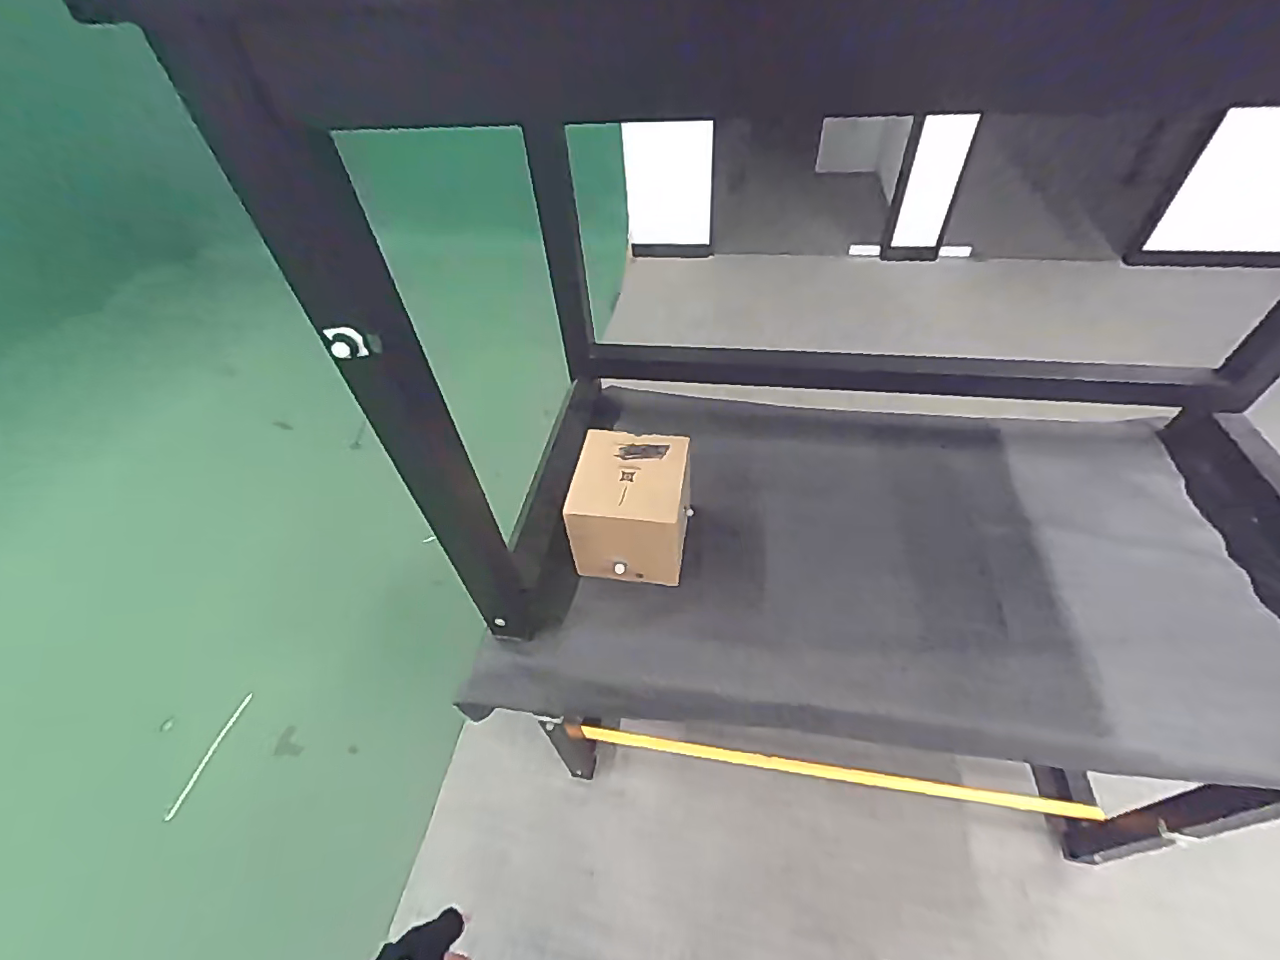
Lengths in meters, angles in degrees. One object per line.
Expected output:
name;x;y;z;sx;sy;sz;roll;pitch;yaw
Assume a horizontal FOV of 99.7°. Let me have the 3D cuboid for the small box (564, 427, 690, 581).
small box;-0.012;0.038;0.875;0.168;0.176;0.179;5;49;9
